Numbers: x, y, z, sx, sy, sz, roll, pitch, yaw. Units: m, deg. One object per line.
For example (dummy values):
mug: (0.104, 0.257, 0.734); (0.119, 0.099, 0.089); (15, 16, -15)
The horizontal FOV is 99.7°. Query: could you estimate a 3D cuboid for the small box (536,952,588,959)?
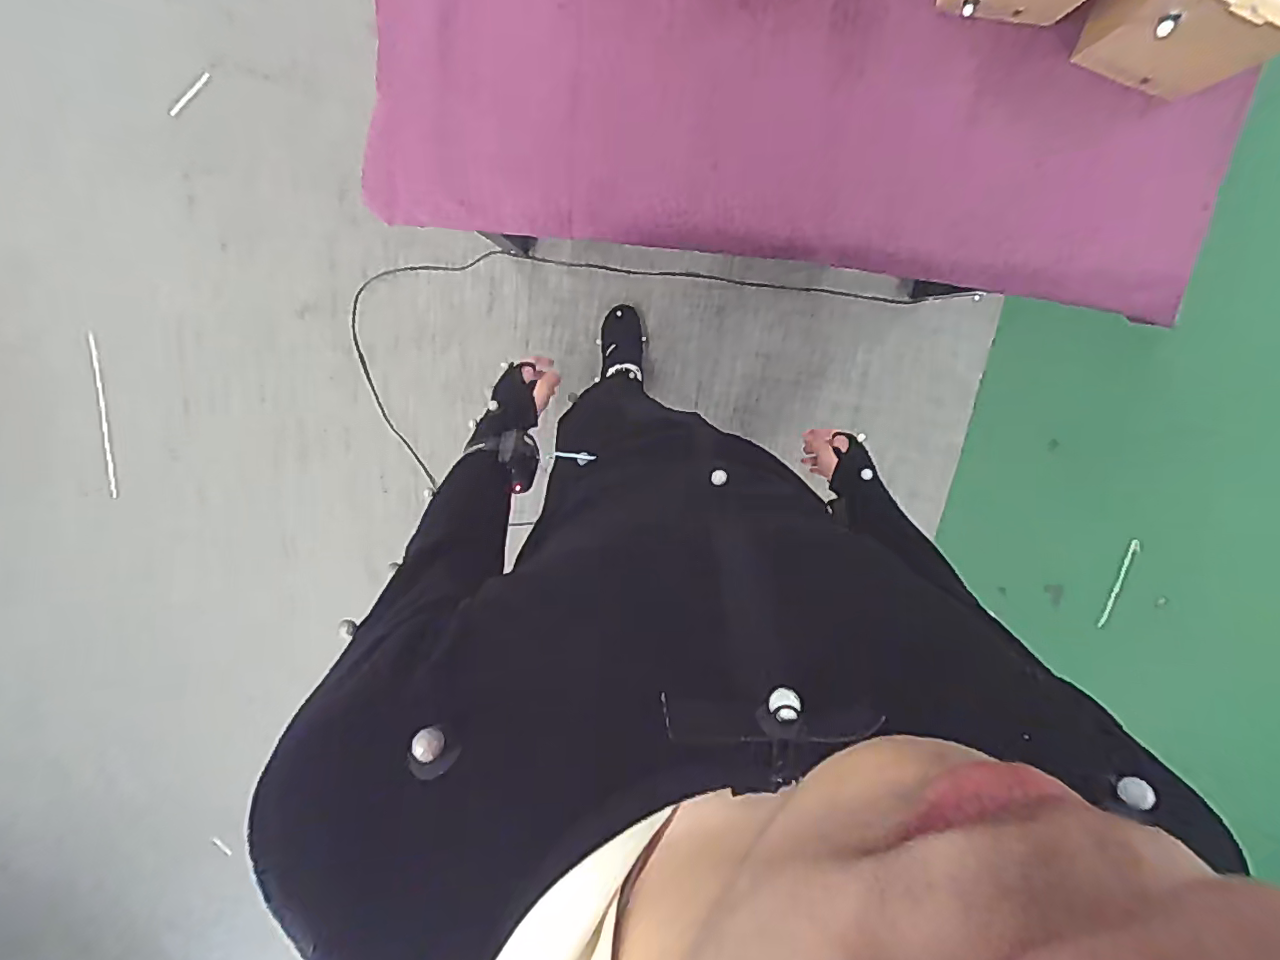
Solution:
small box: (-0.230, 1.476, 1.505); (0.168, 0.176, 0.179); (9, 103, -3)
